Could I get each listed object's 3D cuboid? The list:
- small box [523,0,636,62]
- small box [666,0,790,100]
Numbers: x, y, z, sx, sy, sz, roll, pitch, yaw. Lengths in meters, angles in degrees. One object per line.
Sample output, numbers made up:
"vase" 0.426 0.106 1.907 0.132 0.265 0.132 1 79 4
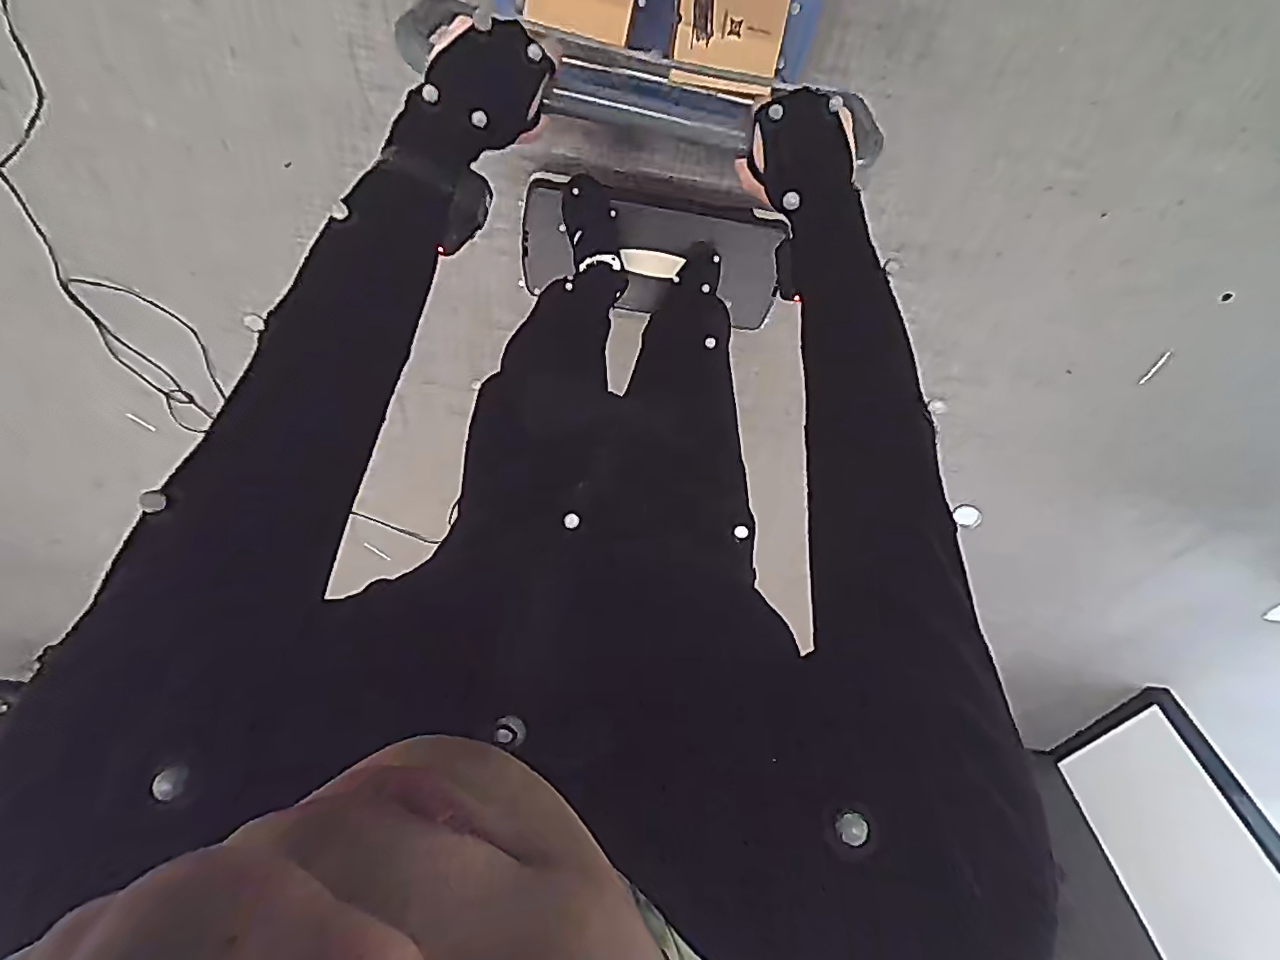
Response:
"small box" -0.085 -0.824 0.884 0.168 0.176 0.179 13 130 -11
"small box" 0.142 -0.770 0.923 0.179 0.176 0.168 5 131 -5
